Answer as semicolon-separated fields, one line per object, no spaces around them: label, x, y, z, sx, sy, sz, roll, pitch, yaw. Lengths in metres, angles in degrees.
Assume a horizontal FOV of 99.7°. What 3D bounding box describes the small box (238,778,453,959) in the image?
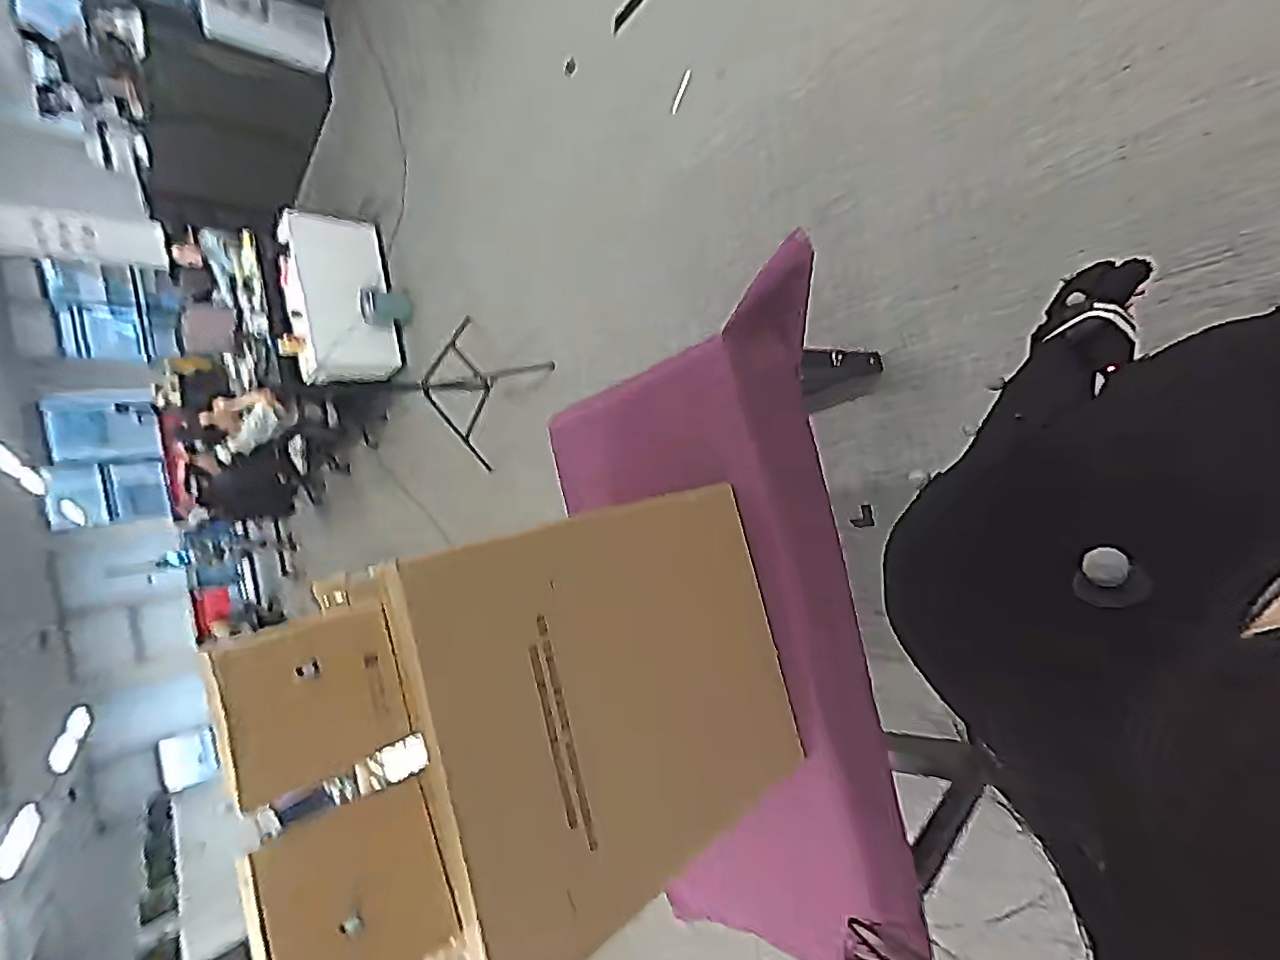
small box;-0.333;0.472;0.613;0.168;0.176;0.179;-38;69;42

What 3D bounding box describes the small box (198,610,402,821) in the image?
small box;-0.398;0.258;0.639;0.179;0.176;0.168;-20;82;48
